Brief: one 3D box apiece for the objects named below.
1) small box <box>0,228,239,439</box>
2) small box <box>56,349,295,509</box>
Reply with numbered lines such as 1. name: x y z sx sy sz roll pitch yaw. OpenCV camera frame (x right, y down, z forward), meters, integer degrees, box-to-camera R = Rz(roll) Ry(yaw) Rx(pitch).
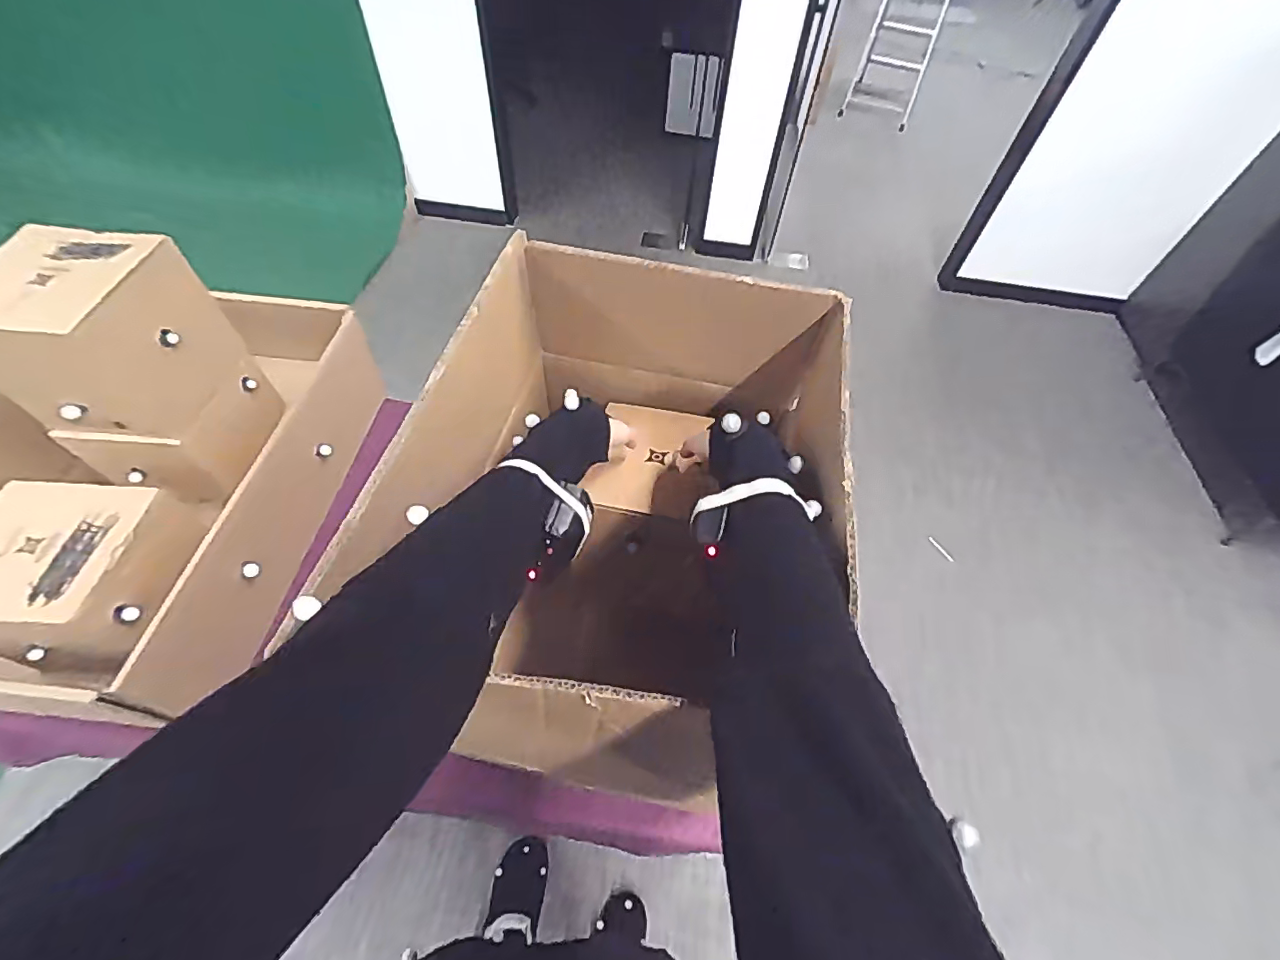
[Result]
1. small box: -0.636 -0.172 0.652 0.168 0.176 0.179 5 56 1
2. small box: -0.644 -0.073 0.783 0.168 0.176 0.179 4 55 0
